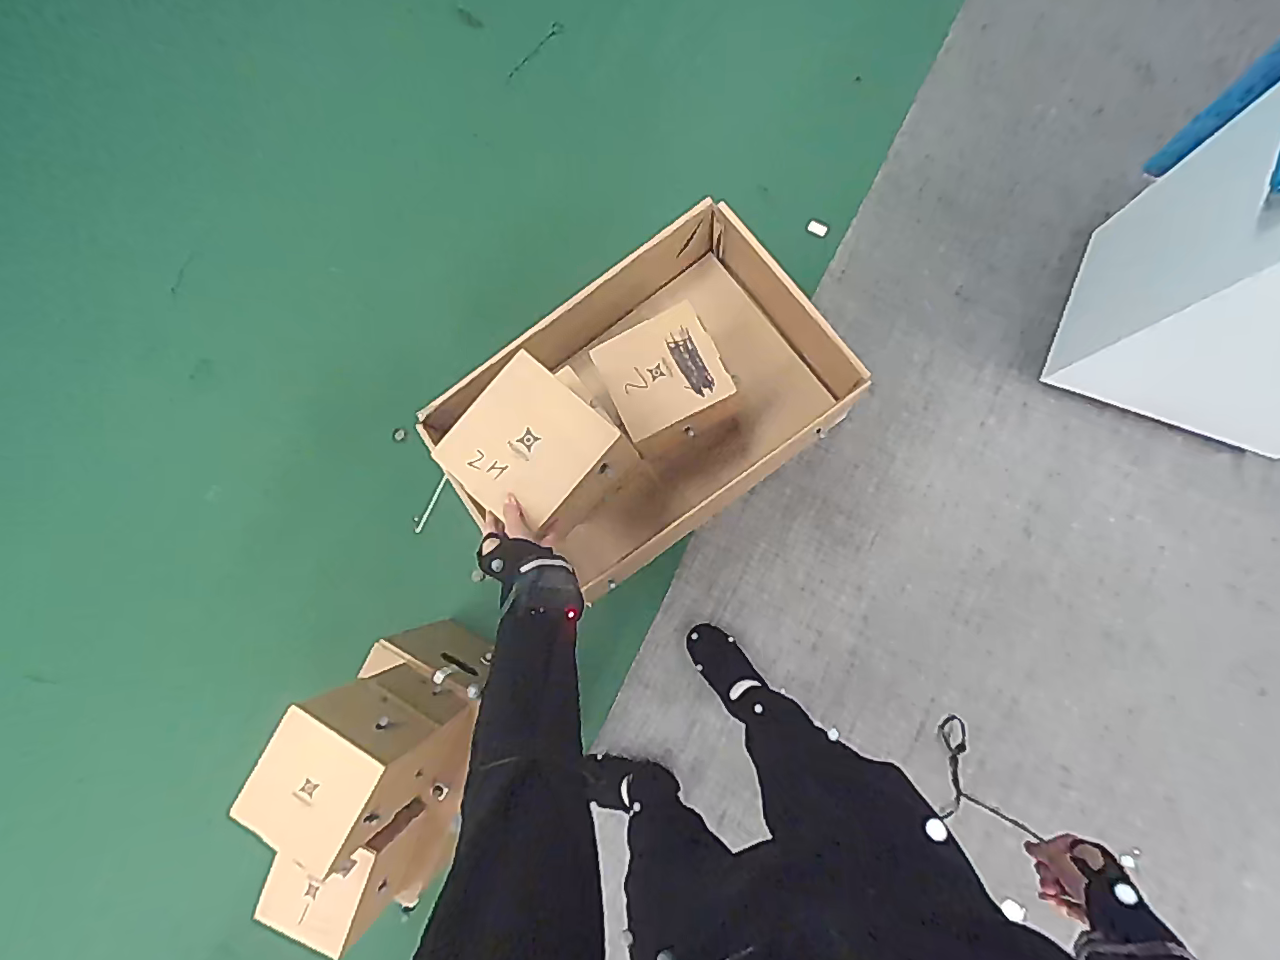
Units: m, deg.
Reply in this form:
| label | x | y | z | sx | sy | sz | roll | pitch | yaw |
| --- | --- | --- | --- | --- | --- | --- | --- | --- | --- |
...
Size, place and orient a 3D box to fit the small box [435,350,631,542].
| label | x | y | z | sx | sy | sz | roll | pitch | yaw |
| --- | --- | --- | --- | --- | --- | --- | --- | --- | --- |
| small box | -0.126 | -0.035 | 0.724 | 0.168 | 0.176 | 0.179 | 41 | 90 | 10 |

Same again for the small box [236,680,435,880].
| label | x | y | z | sx | sy | sz | roll | pitch | yaw |
| --- | --- | --- | --- | --- | --- | --- | --- | --- | --- |
| small box | -0.441 | 0.433 | 0.819 | 0.168 | 0.176 | 0.179 | 28 | 88 | 8 |
